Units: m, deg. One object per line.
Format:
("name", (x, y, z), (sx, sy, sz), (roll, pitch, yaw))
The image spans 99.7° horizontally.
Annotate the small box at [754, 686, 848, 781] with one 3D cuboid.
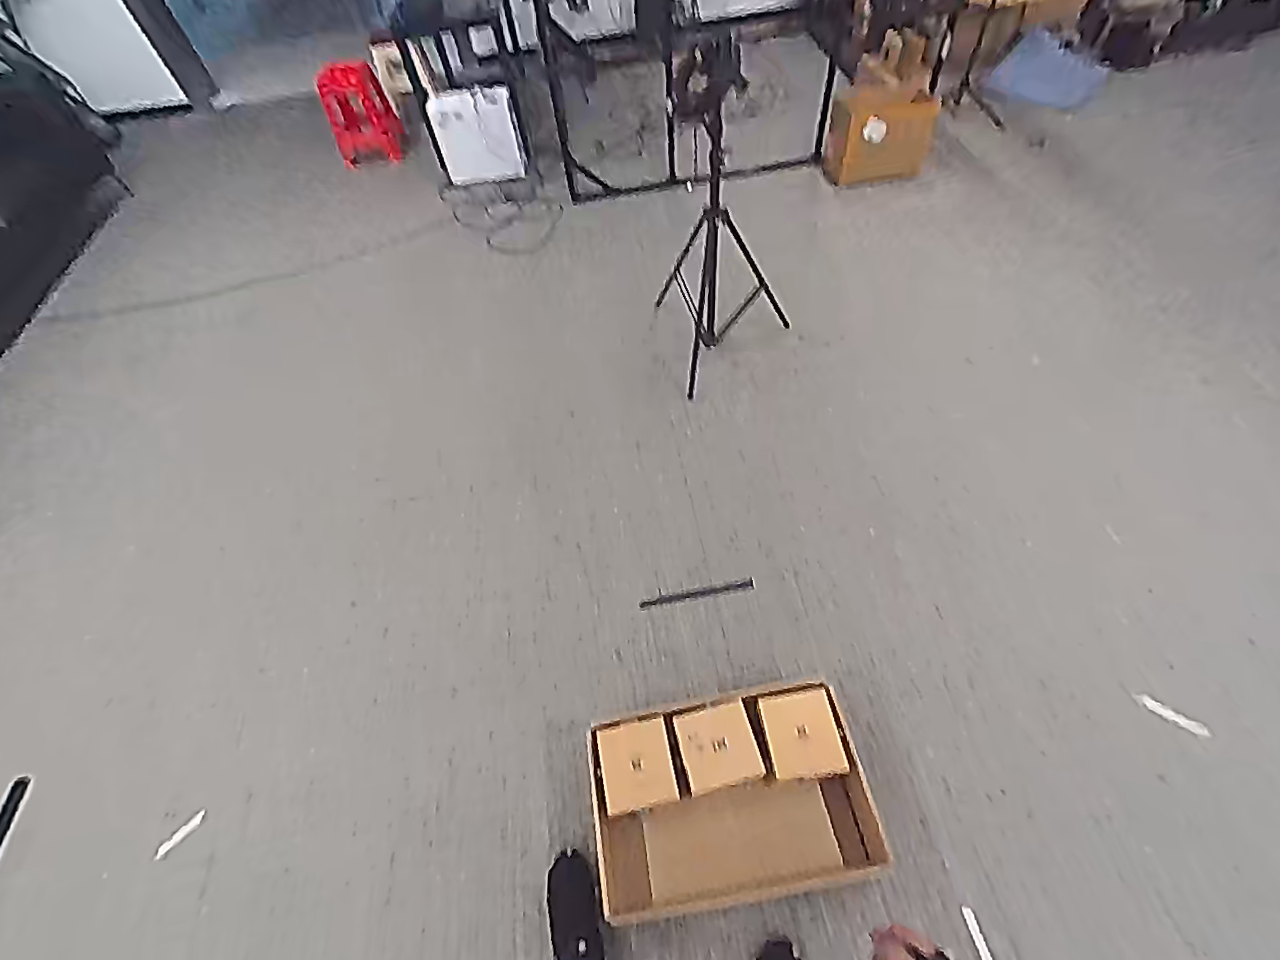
("small box", (0.381, 0.621, 1.319), (0.168, 0.176, 0.179), (-10, 58, 0))
